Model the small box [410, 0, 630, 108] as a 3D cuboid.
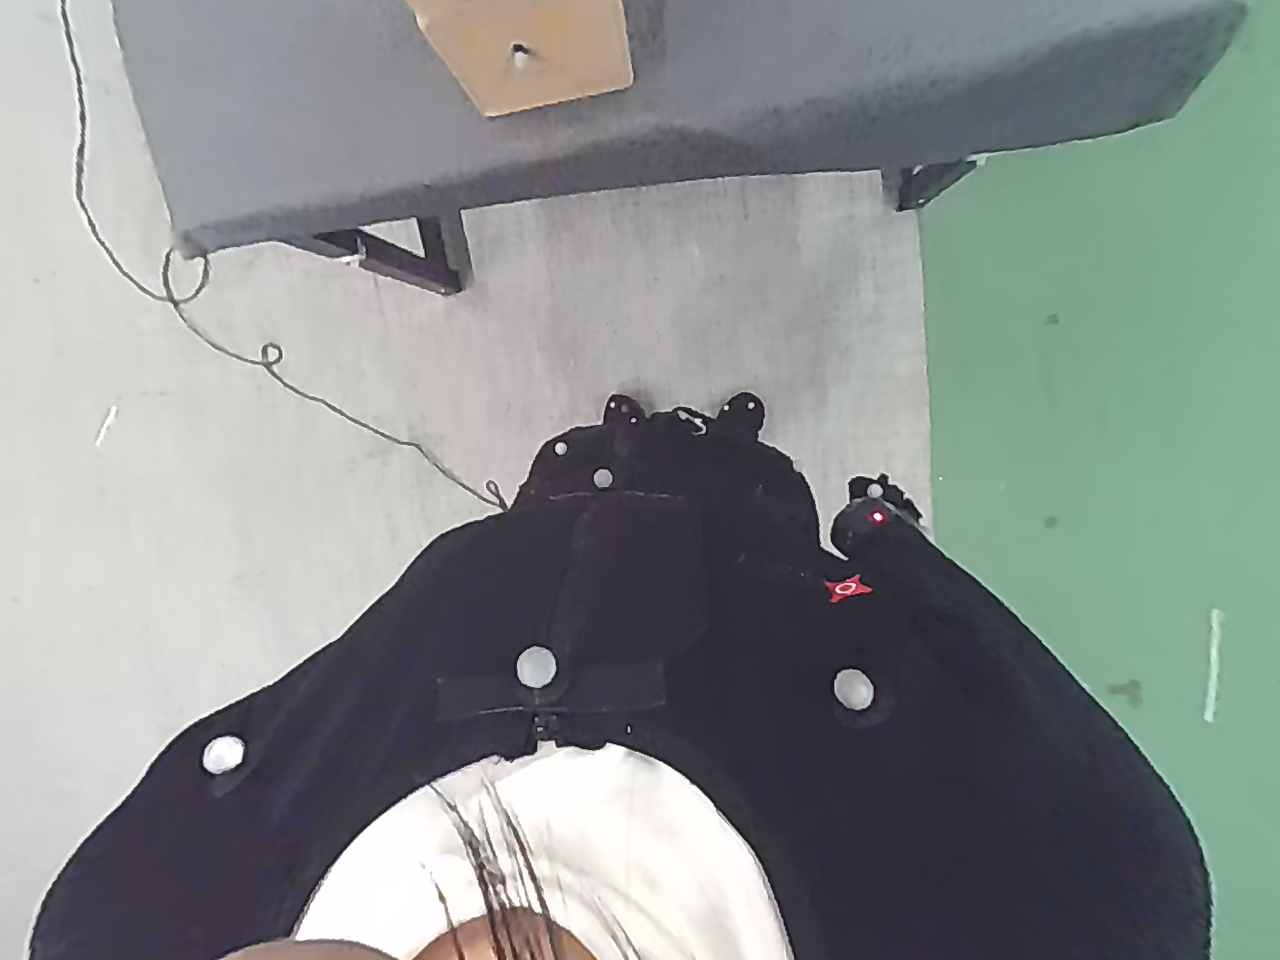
[{"bbox_3d":[-0.113,-0.497,0.522,0.179,0.176,0.168,-8,99,6],"label":"small box"}]
